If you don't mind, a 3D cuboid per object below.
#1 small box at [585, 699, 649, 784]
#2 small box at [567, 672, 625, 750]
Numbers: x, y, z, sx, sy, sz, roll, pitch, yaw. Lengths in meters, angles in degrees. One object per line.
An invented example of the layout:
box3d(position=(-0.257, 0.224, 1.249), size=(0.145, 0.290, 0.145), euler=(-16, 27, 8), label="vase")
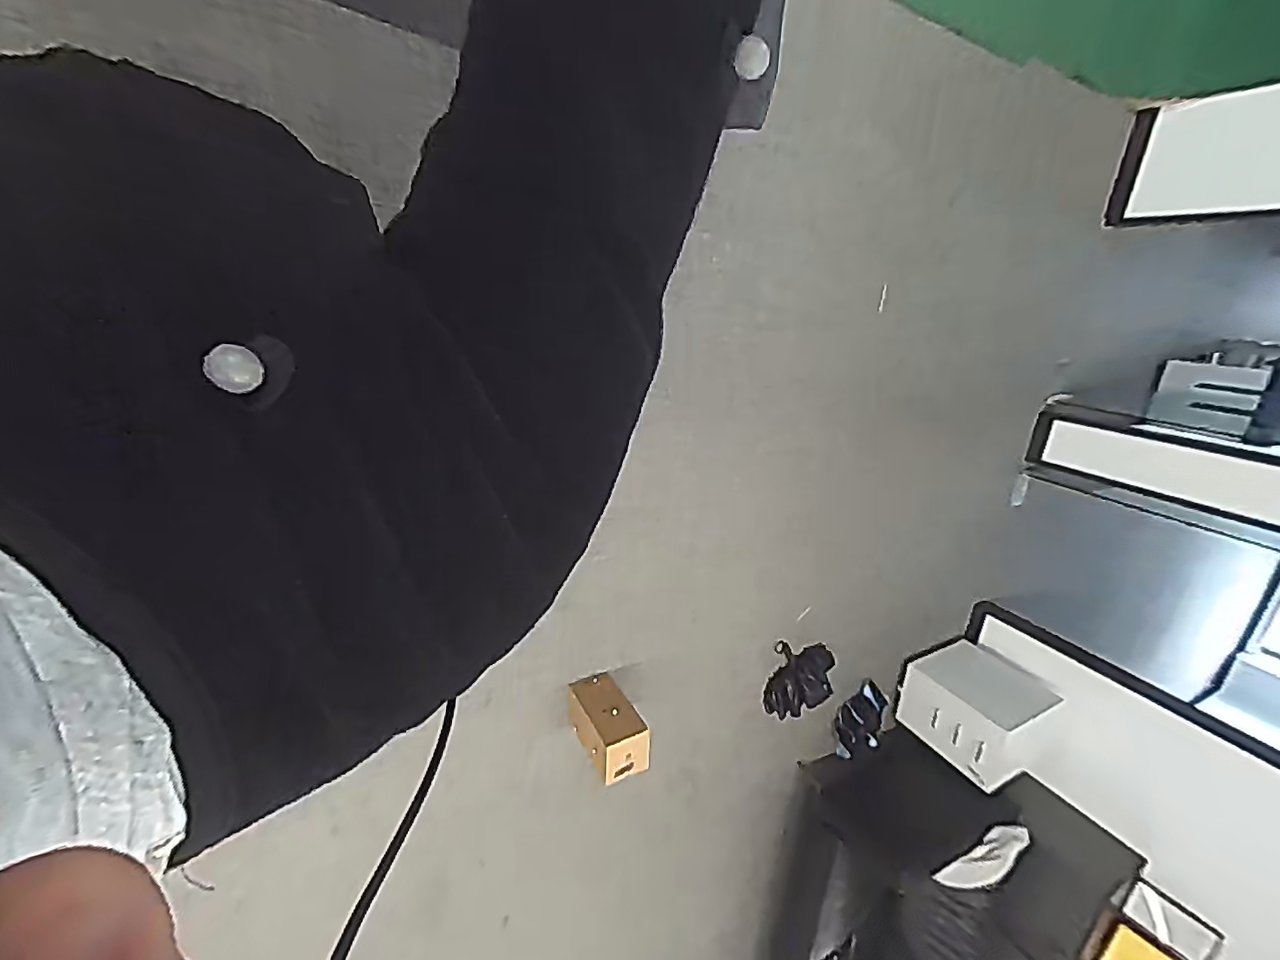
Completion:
box3d(position=(-0.084, 0.902, 1.878), size=(0.168, 0.176, 0.179), euler=(-11, 114, -28), label="small box")
box3d(position=(-0.166, 0.855, 2.013), size=(0.168, 0.176, 0.179), euler=(-11, 113, -28), label="small box")
